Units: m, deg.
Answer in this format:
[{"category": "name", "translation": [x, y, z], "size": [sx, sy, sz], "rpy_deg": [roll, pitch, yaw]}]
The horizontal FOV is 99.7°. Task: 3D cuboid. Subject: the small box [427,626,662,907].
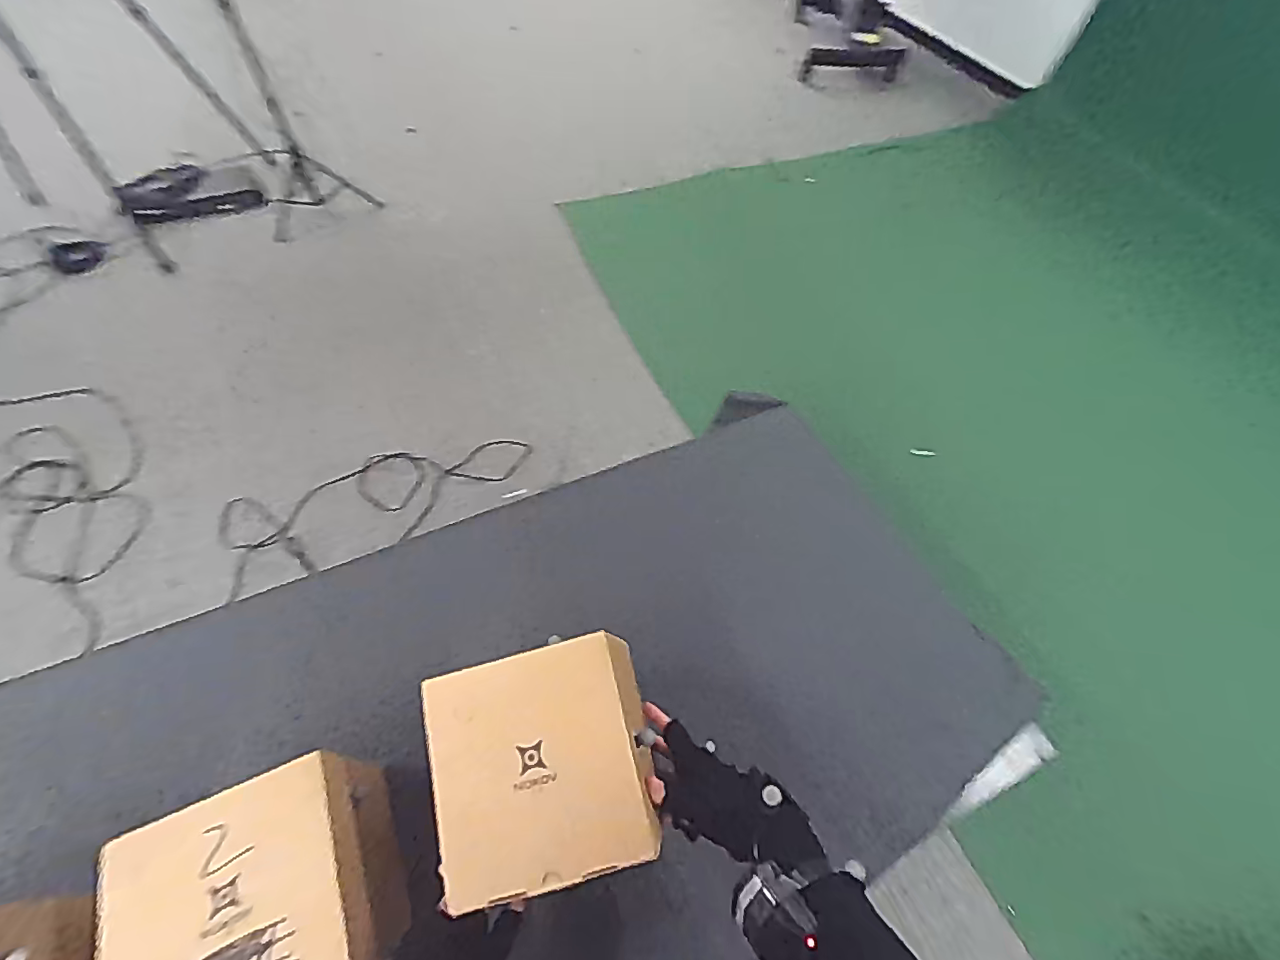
[{"category": "small box", "translation": [-0.079, 0.249, 0.512], "size": [0.168, 0.176, 0.179], "rpy_deg": [-15, 72, -1]}]
